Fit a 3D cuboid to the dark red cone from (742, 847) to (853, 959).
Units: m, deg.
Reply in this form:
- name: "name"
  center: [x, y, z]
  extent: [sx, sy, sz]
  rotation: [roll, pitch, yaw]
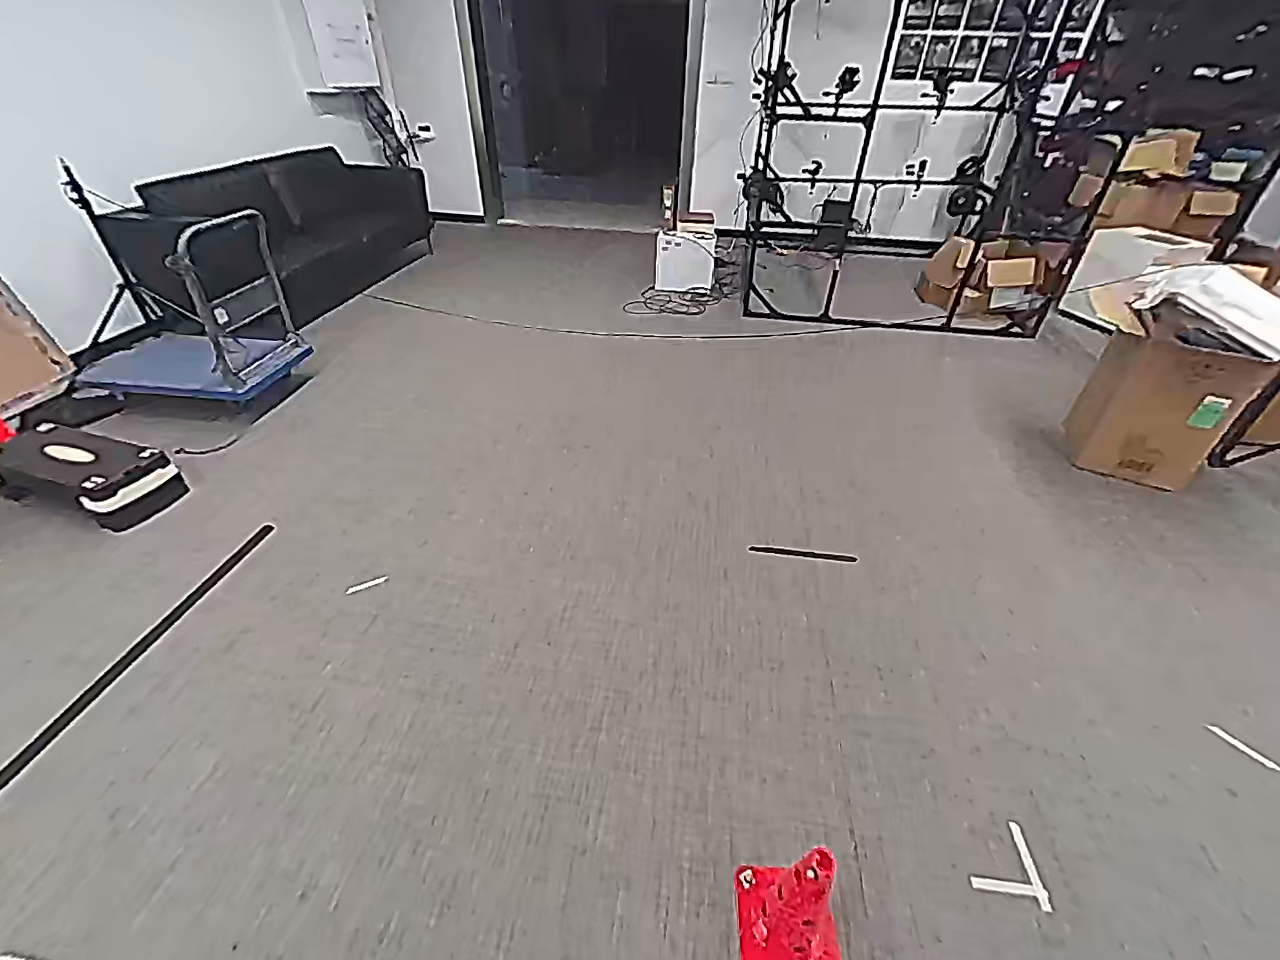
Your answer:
- name: "dark red cone"
  center: [0.312, 0.756, 0.980]
  extent: [0.202, 0.394, 0.201]
  rotation: [2, 38, 1]
